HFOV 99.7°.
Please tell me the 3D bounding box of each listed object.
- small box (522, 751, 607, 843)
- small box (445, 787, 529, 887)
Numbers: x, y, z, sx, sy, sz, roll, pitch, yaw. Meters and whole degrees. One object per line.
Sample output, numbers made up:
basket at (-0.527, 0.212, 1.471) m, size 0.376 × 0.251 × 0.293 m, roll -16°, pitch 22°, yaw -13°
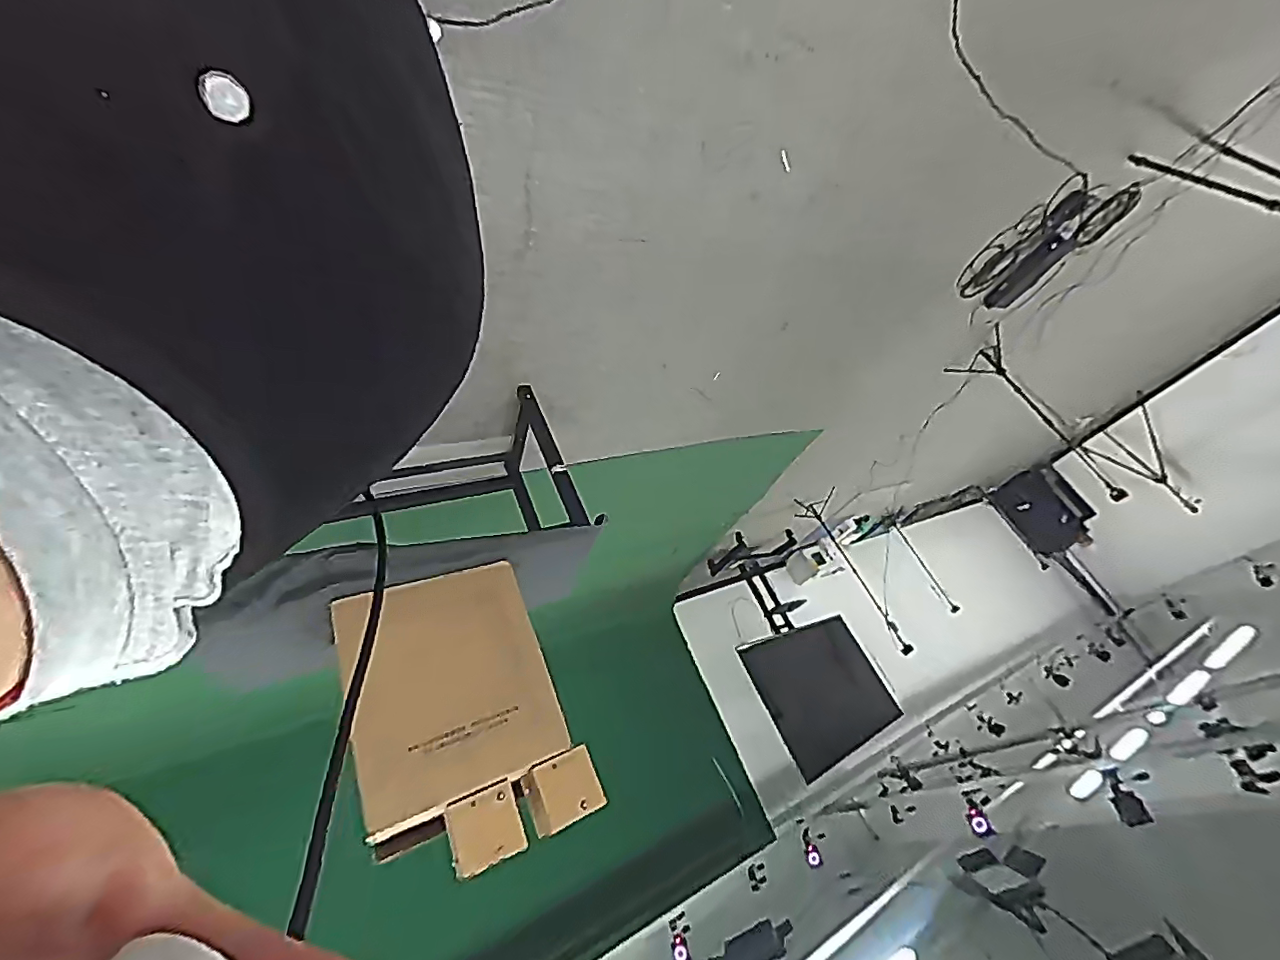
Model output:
small box at (-0.223, 0.904, 1.547) m, size 0.168 × 0.176 × 0.179 m, roll -13°, pitch 151°, yaw -33°
small box at (-0.413, 0.944, 1.437) m, size 0.168 × 0.176 × 0.179 m, roll -10°, pitch 150°, yaw -30°
